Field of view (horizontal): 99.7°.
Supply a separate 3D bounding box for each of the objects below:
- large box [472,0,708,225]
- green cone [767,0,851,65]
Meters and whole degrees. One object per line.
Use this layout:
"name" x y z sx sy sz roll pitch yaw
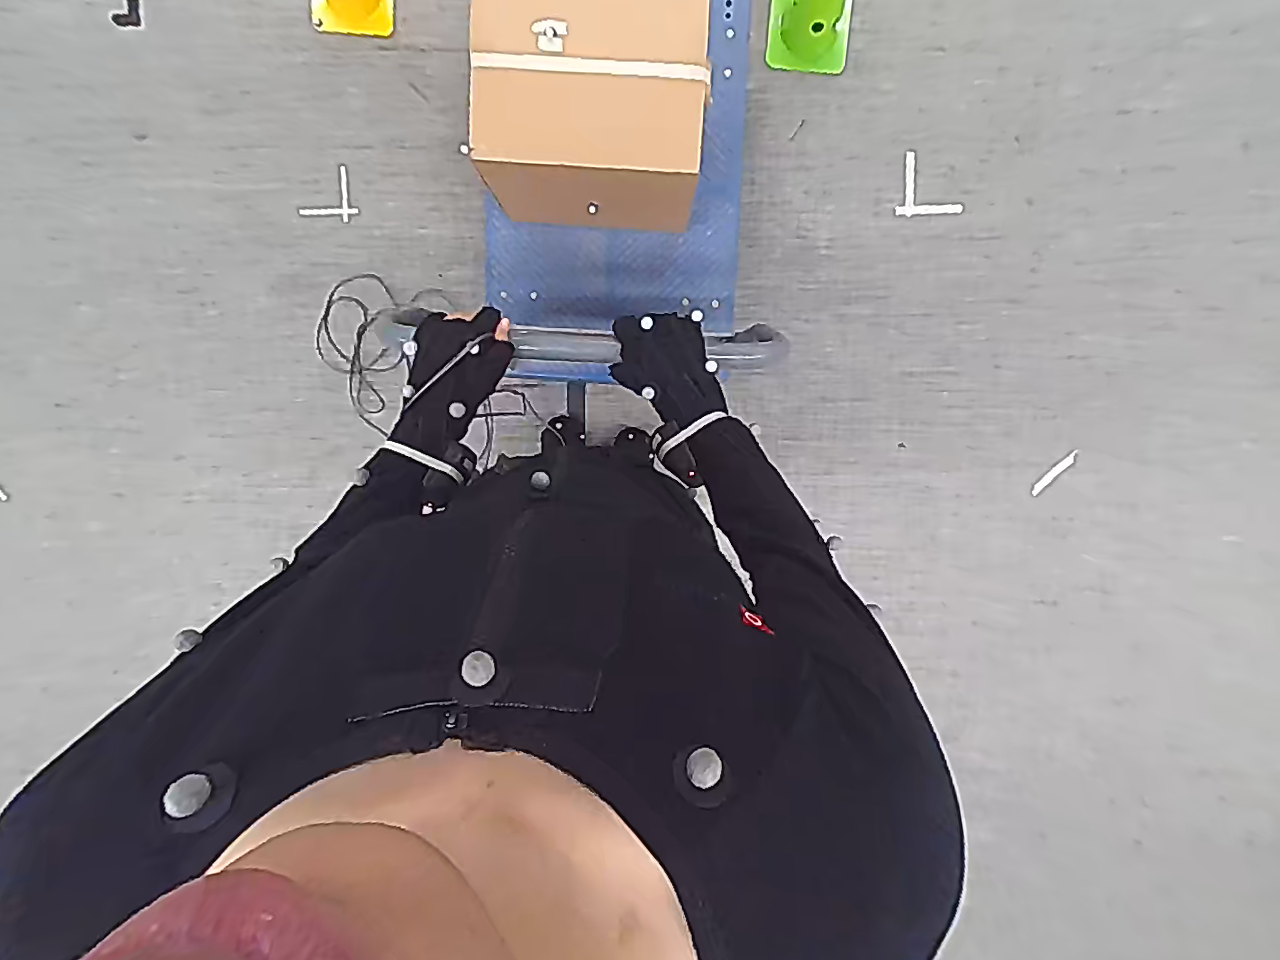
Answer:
"large box" -0.086 -0.721 1.071 0.408 0.320 0.320 3 97 0
"green cone" 0.425 -1.126 1.174 0.202 0.368 0.200 4 96 -2
